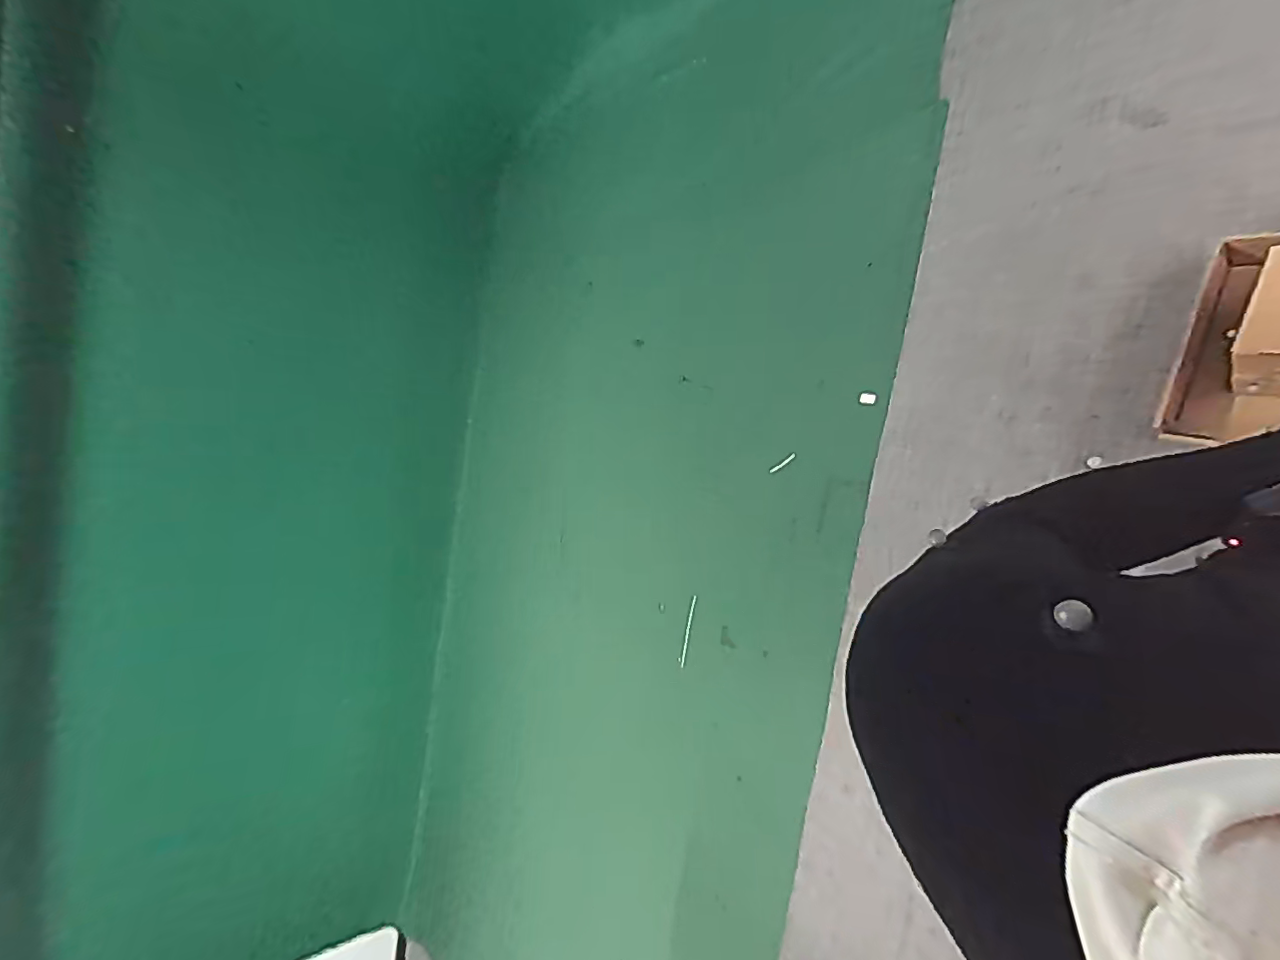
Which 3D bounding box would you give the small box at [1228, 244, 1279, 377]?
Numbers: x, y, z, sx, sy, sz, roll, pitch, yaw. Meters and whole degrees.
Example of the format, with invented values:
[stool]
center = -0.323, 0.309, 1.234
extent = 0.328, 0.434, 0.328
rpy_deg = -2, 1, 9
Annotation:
[small box]
center = 1.095, -0.268, 0.874
extent = 0.168, 0.176, 0.179
rpy_deg = 21, 101, 47
